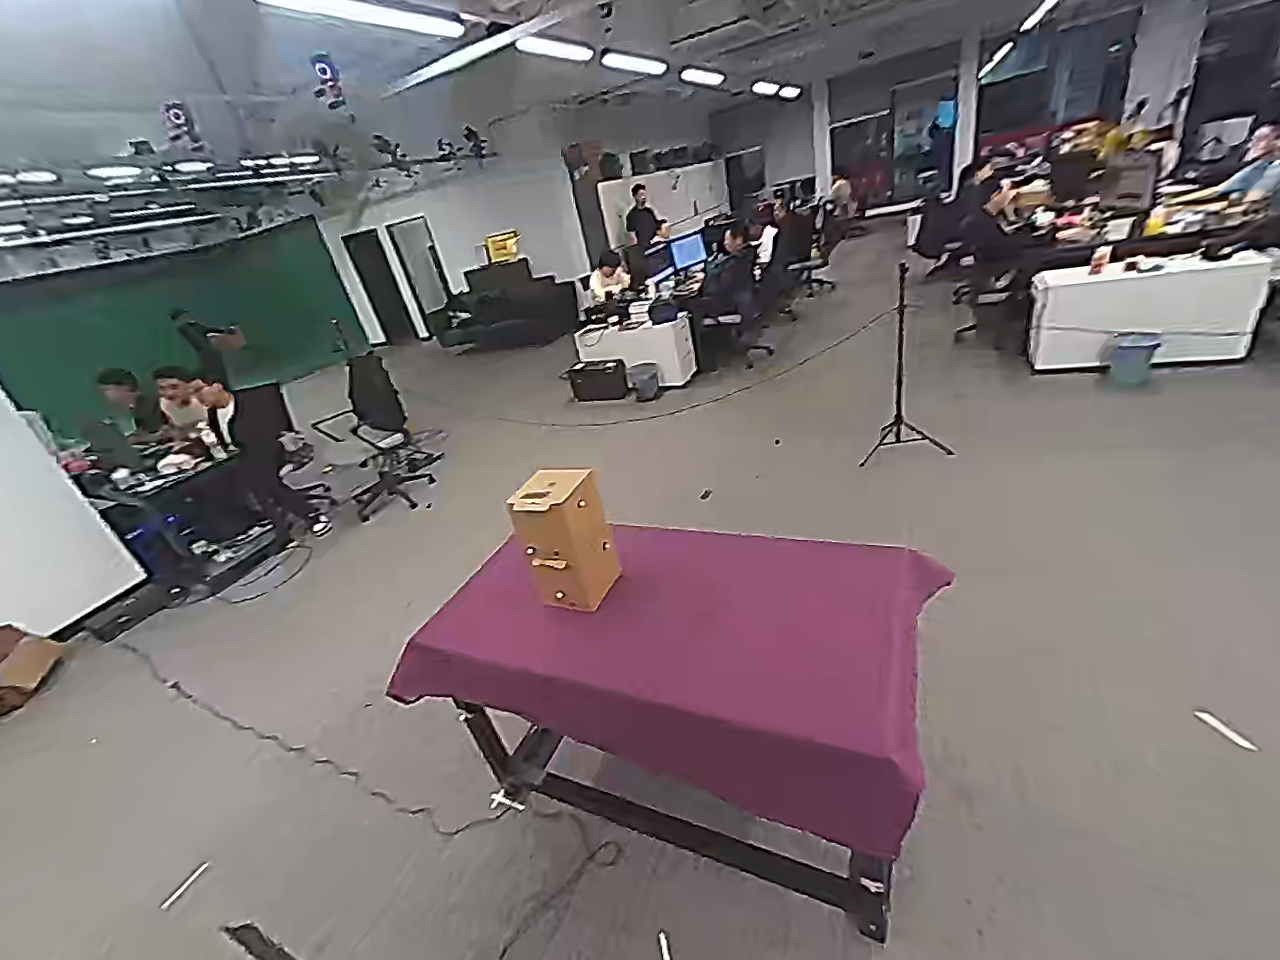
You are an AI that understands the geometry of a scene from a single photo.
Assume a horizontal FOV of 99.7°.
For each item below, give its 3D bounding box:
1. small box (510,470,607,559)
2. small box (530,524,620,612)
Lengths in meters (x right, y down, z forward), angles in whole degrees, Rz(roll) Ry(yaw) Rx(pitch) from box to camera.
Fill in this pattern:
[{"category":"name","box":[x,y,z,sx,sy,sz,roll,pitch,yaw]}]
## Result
[{"category":"small box","box":[-0.202,0.088,1.405,0.168,0.176,0.179,0,30,24]},{"category":"small box","box":[-0.167,0.230,1.480,0.168,0.176,0.179,2,32,28]}]
